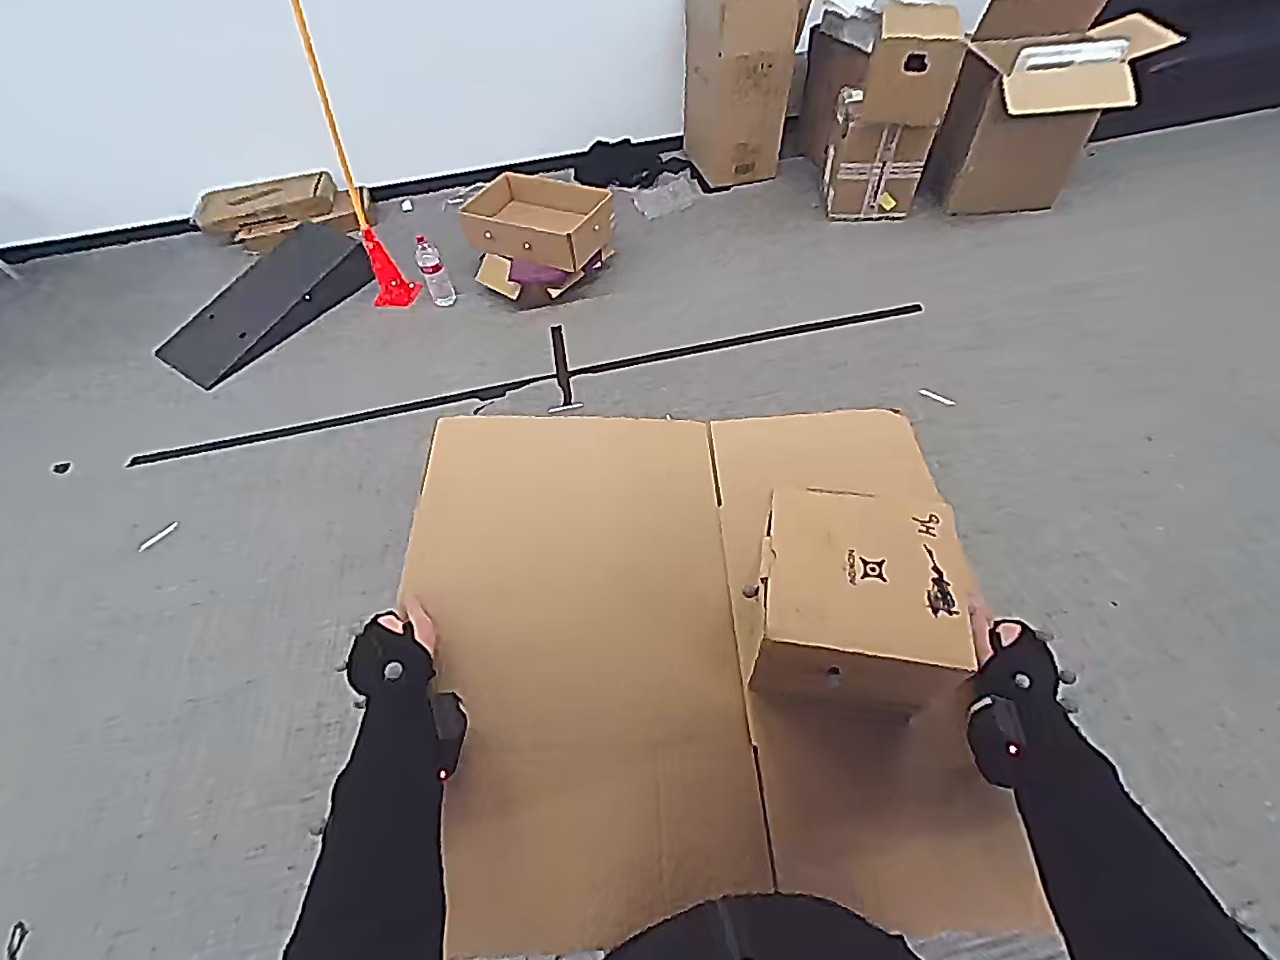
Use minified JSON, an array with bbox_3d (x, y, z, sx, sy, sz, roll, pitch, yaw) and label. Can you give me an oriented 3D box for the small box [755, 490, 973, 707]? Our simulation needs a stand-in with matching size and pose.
[{"bbox_3d":[0.219,0.129,0.576,0.179,0.176,0.168,5,56,11],"label":"small box"}]
